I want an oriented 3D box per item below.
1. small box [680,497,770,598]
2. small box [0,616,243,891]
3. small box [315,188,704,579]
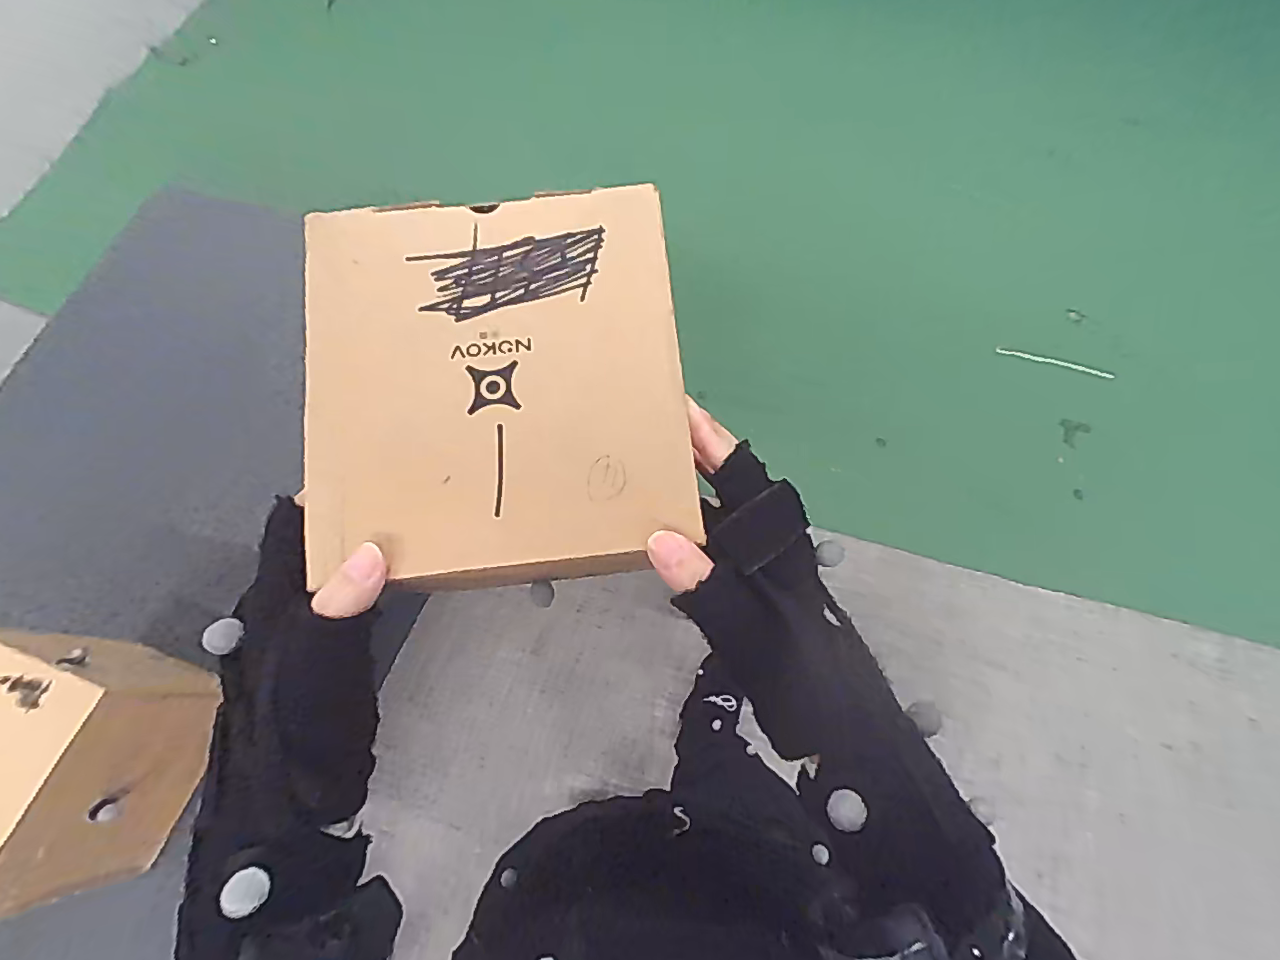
[{"bbox_3d":[0.196,0.167,1.287,0.168,0.176,0.179,17,73,9],"label":"small box"},{"bbox_3d":[-0.533,0.244,0.506,0.168,0.176,0.179,18,71,10],"label":"small box"},{"bbox_3d":[-0.061,-0.036,0.321,0.168,0.176,0.179,-5,79,-1],"label":"small box"}]
